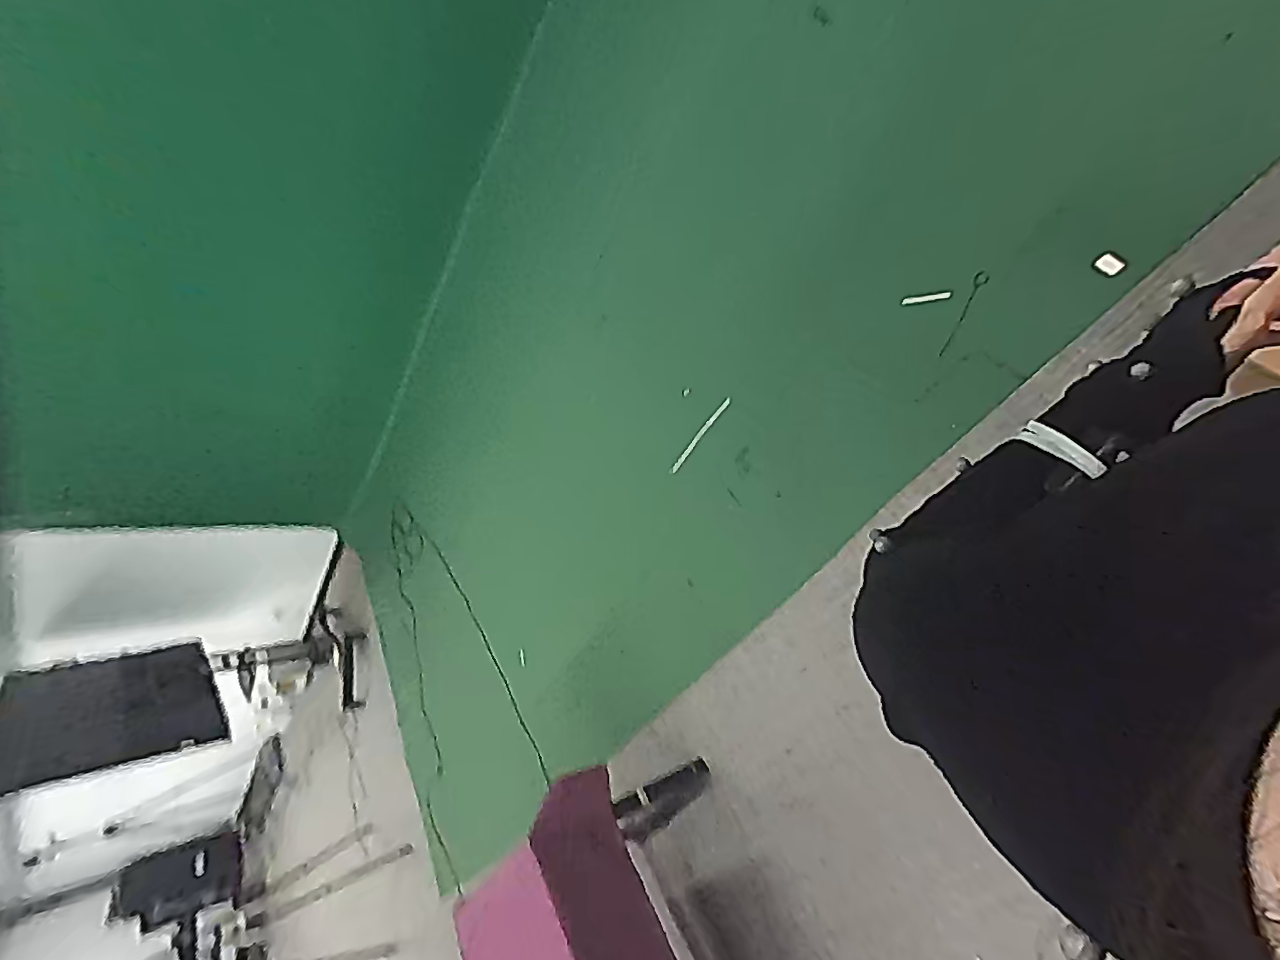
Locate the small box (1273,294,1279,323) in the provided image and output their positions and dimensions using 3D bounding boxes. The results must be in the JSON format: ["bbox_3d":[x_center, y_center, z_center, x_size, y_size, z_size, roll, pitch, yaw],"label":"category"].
[{"bbox_3d":[0.492,-0.170,0.289,0.168,0.176,0.179,19,112,45],"label":"small box"}]

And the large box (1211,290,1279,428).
[{"bbox_3d":[1.206,-0.235,0.806,0.408,0.320,0.320,-53,54,28],"label":"large box"}]
